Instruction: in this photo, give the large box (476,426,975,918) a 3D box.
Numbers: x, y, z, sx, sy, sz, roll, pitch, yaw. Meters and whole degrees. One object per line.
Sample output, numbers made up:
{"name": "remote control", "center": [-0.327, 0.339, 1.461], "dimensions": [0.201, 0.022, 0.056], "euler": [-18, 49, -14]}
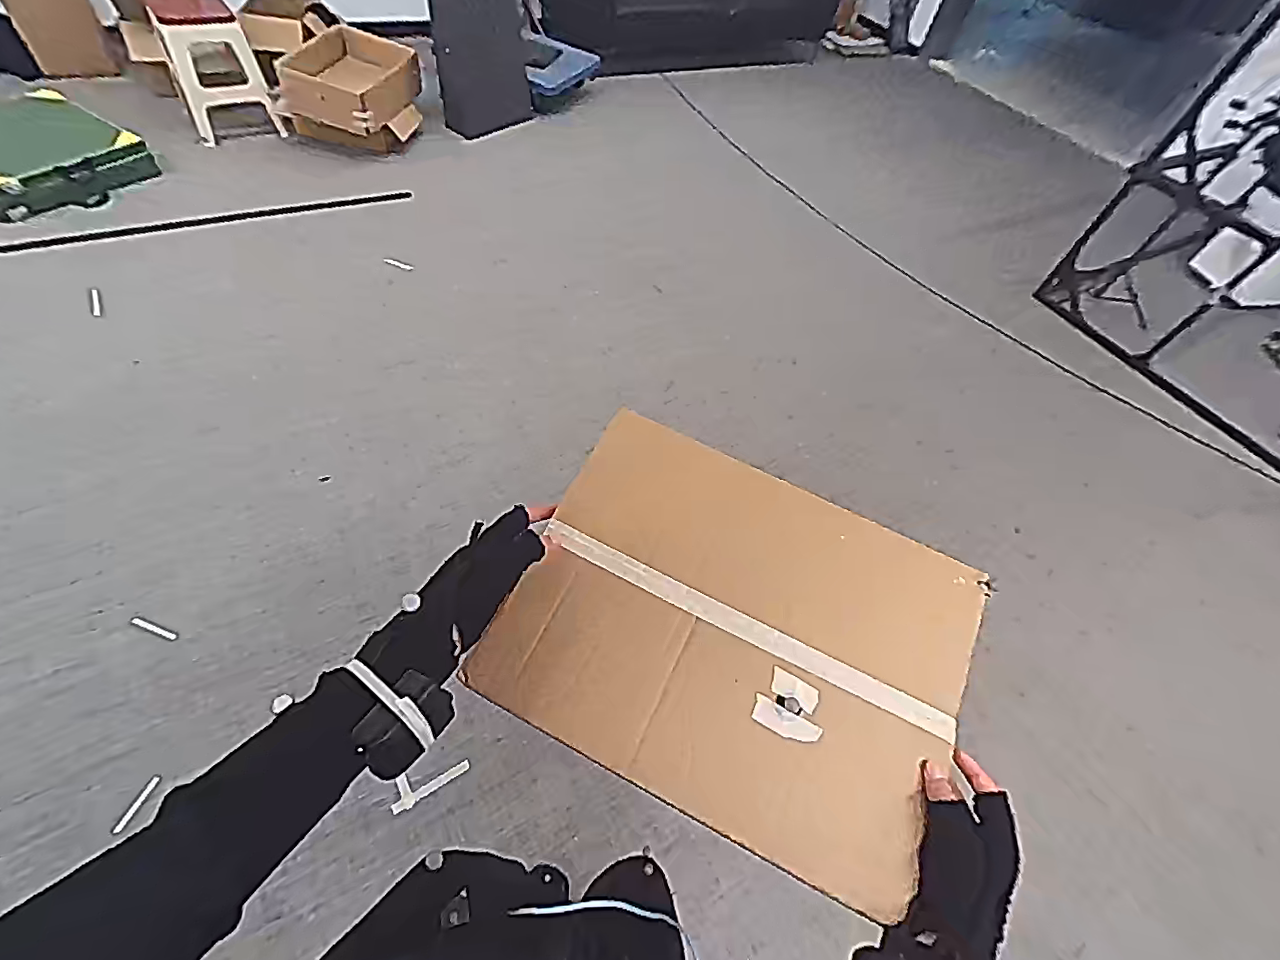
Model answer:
{"name": "large box", "center": [0.085, 0.204, 0.645], "dimensions": [0.408, 0.320, 0.320], "euler": [26, 67, 8]}
